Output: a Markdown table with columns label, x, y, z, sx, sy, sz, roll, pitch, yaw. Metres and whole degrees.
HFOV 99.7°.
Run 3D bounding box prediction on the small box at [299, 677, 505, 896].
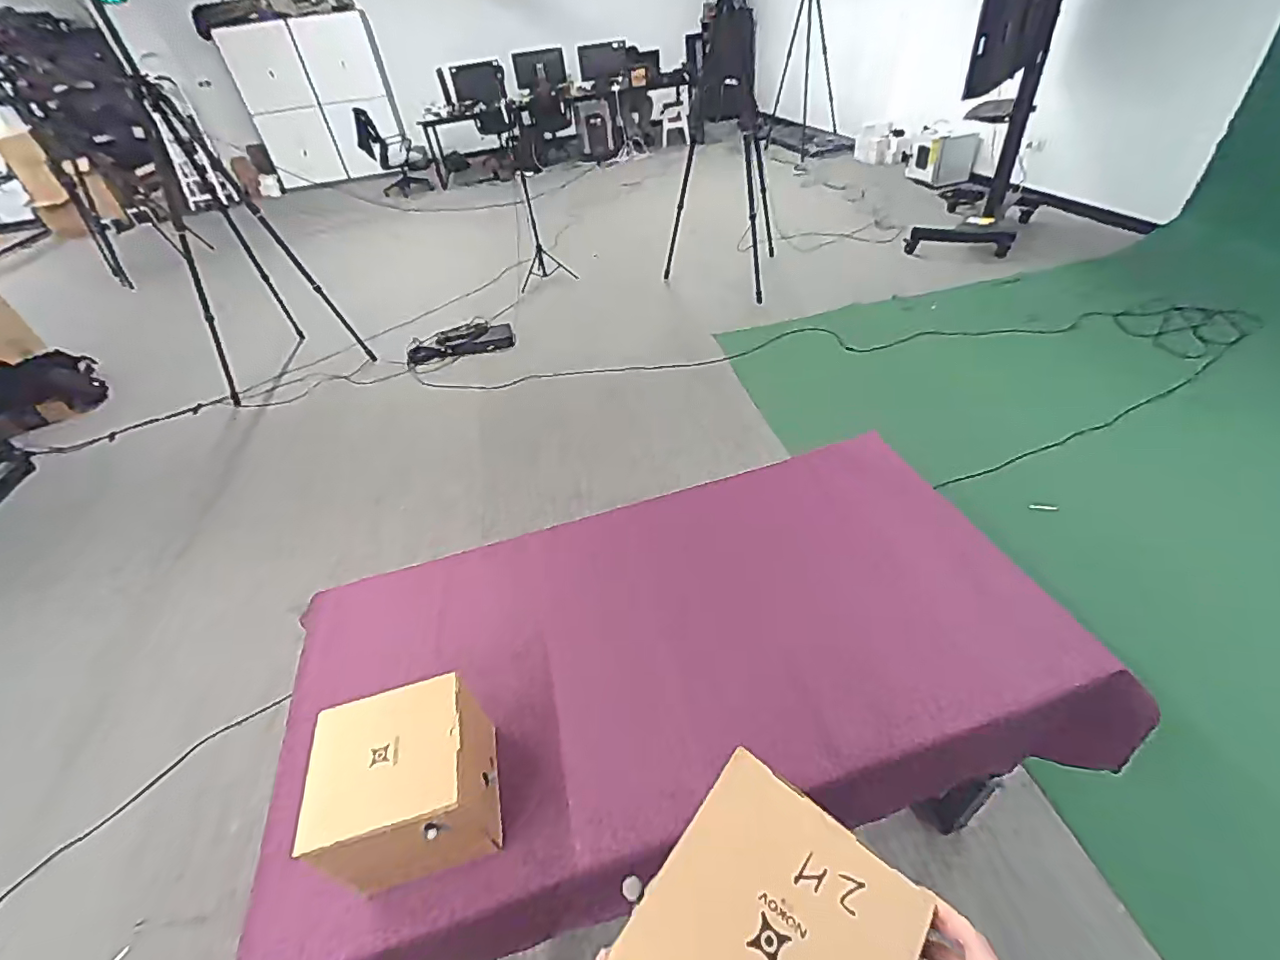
| label | x | y | z | sx | sy | sz | roll | pitch | yaw |
| --- | --- | --- | --- | --- | --- | --- | --- | --- | --- |
| small box | -0.284 | 0.387 | 0.683 | 0.179 | 0.176 | 0.168 | -15 | 41 | -8 |
